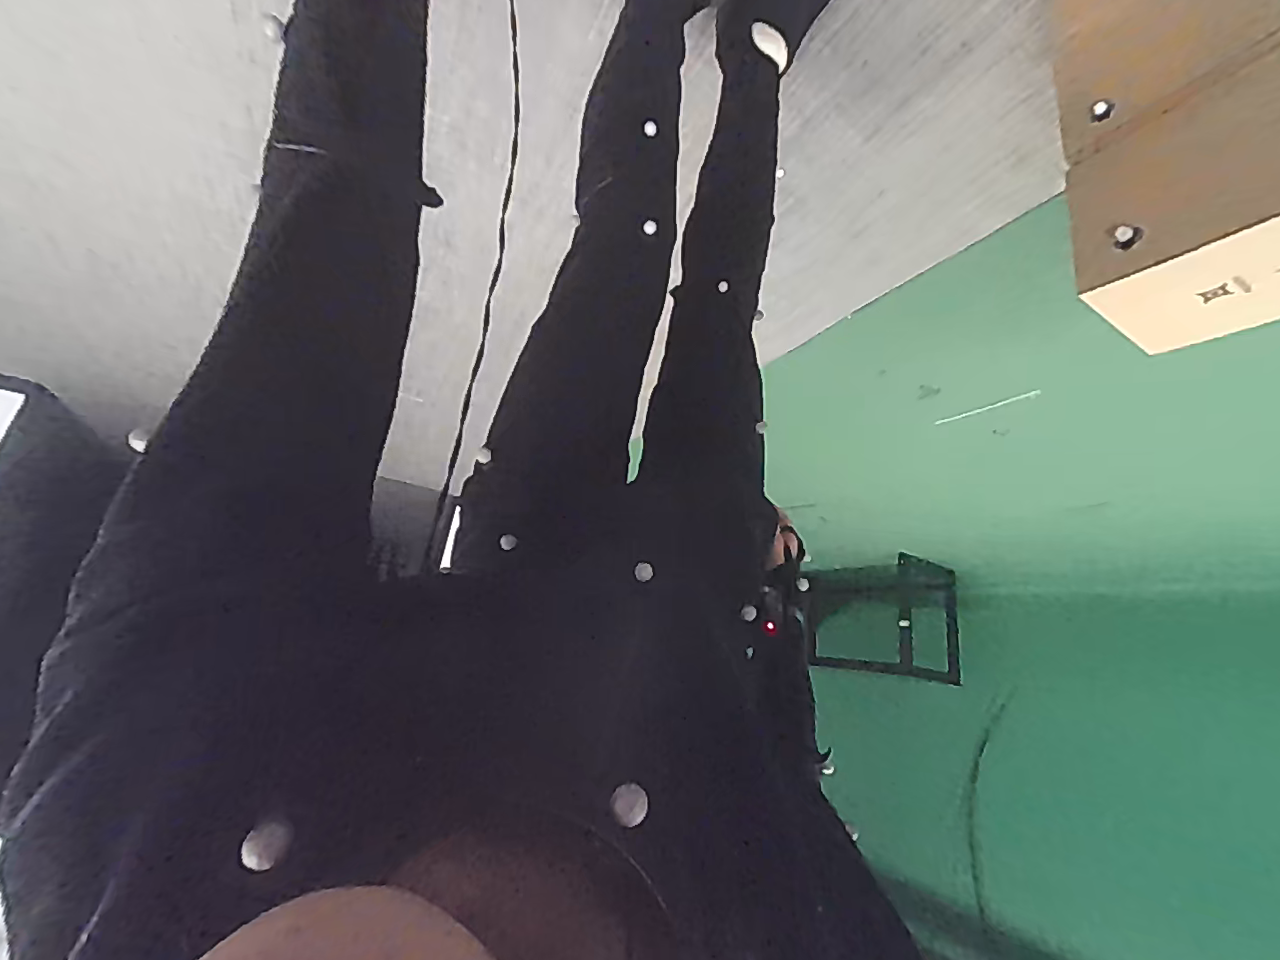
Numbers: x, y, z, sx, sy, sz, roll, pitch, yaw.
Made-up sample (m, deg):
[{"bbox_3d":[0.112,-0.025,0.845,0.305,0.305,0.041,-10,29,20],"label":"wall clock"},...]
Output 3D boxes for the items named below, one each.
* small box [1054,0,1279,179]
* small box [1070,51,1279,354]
[{"bbox_3d":[0.584,-0.420,0.578,0.168,0.176,0.179,17,161,-25],"label":"small box"},{"bbox_3d":[0.568,-0.260,0.541,0.168,0.176,0.179,17,160,-26],"label":"small box"}]
